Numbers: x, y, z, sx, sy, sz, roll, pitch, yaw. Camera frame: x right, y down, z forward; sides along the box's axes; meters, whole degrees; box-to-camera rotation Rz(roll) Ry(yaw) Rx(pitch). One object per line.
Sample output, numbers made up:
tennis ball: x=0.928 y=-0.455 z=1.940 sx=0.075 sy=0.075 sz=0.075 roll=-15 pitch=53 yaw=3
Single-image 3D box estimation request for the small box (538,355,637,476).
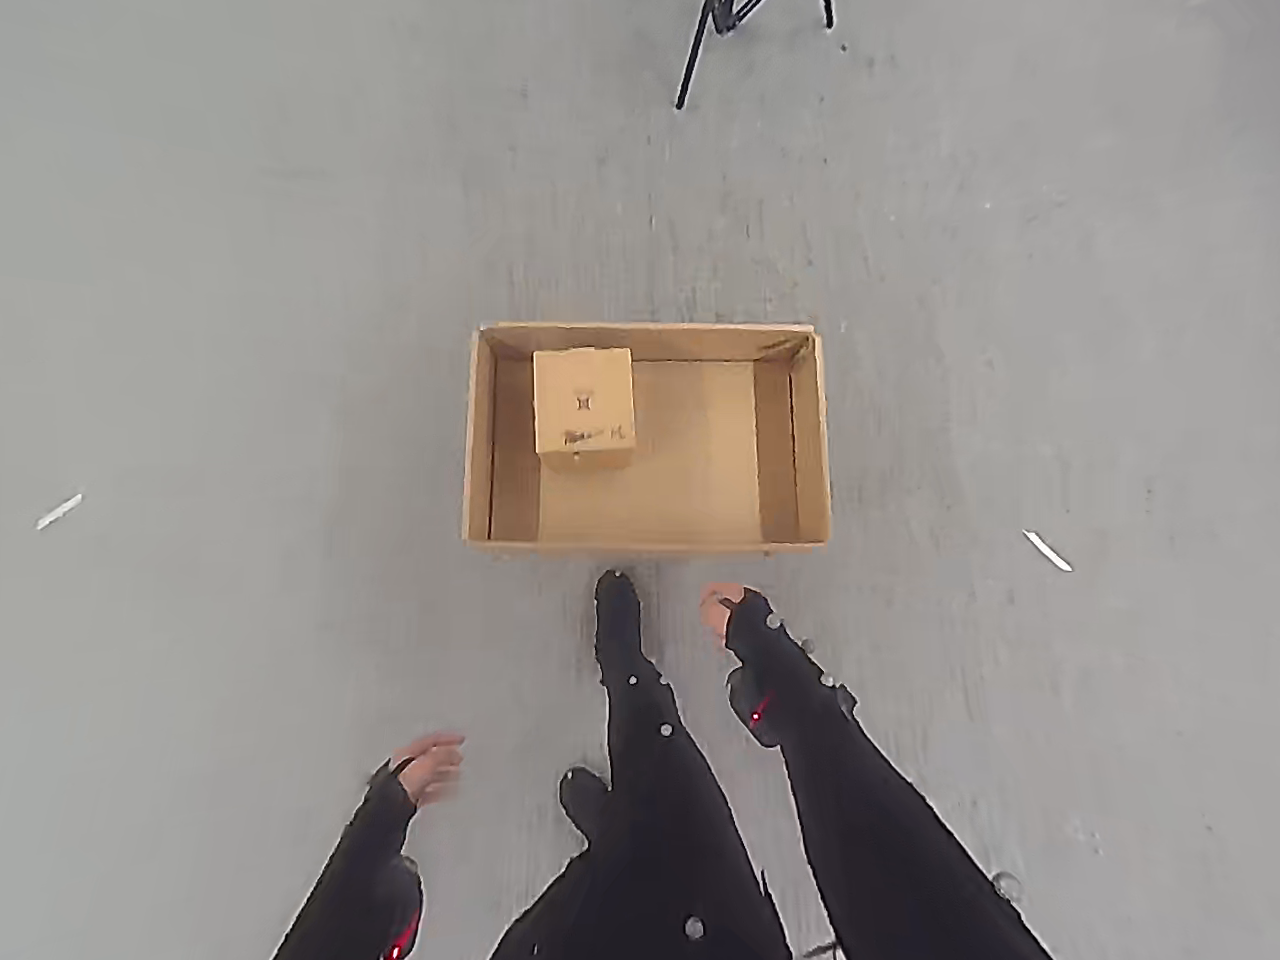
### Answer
small box: x=-0.093 y=-0.111 z=0.978 sx=0.168 sy=0.176 sz=0.179 roll=-2 pitch=80 yaw=-3
